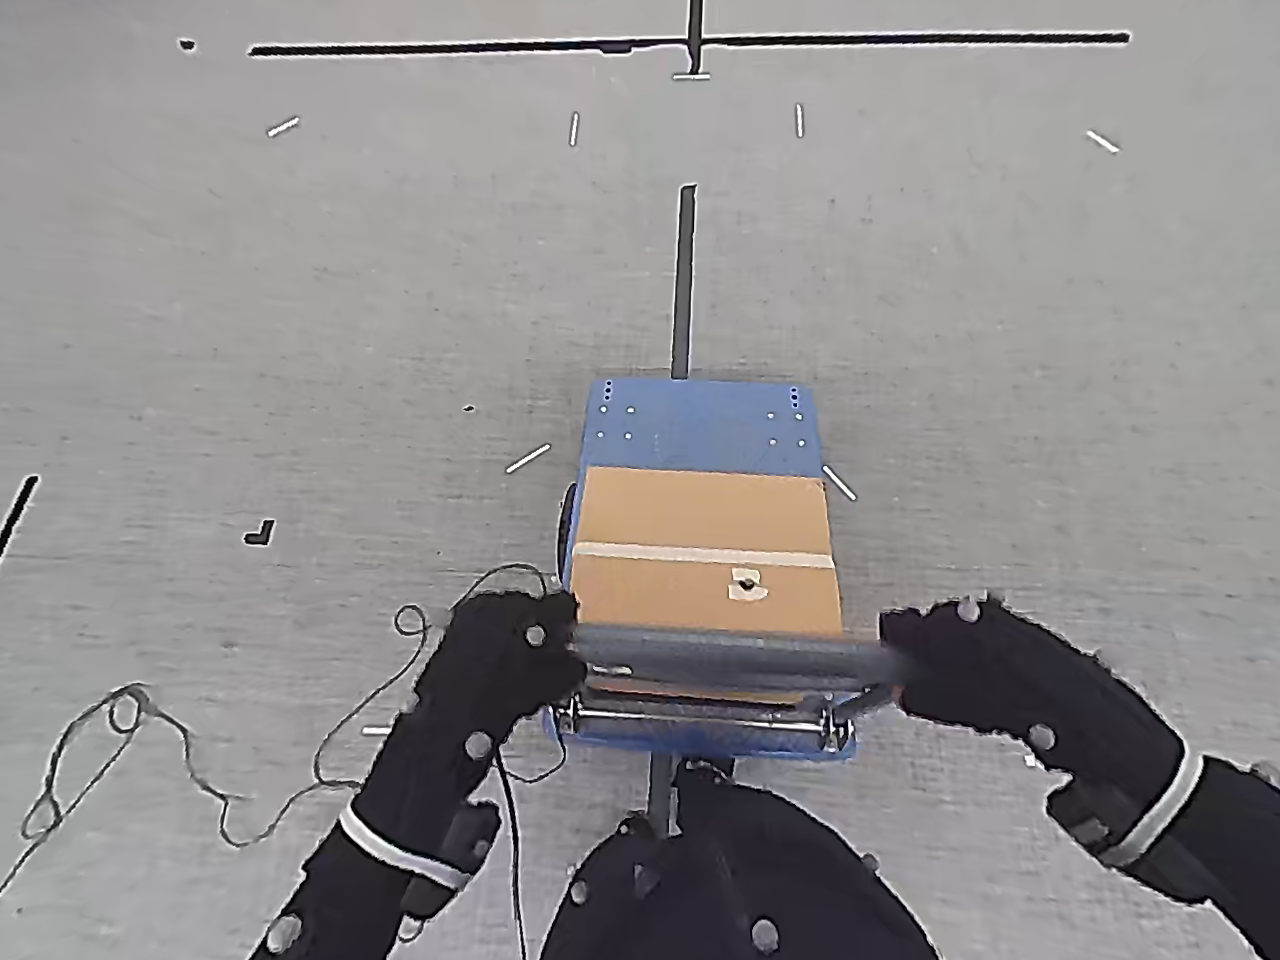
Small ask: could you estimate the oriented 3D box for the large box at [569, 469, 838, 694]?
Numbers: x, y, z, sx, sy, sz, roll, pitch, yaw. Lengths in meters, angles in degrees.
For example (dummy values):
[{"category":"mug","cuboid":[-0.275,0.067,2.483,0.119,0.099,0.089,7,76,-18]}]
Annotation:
[{"category":"large box","cuboid":[0.098,0.196,0.992,0.408,0.320,0.320,3,59,2]}]
